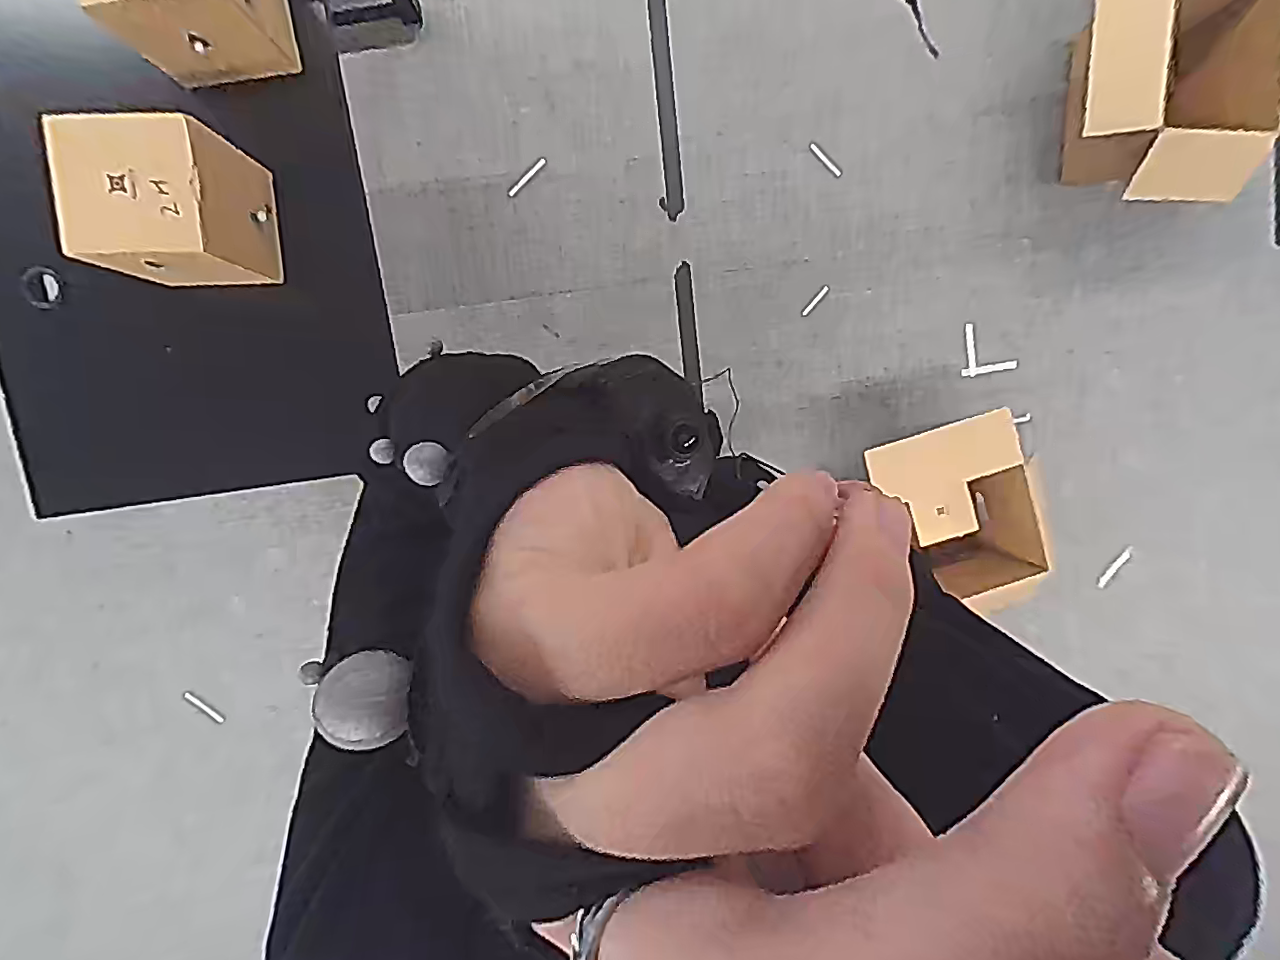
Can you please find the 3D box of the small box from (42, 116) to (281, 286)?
[{"bbox_3d":[-0.642,-0.371,0.748,0.179,0.176,0.168,-3,98,-2],"label":"small box"}]
